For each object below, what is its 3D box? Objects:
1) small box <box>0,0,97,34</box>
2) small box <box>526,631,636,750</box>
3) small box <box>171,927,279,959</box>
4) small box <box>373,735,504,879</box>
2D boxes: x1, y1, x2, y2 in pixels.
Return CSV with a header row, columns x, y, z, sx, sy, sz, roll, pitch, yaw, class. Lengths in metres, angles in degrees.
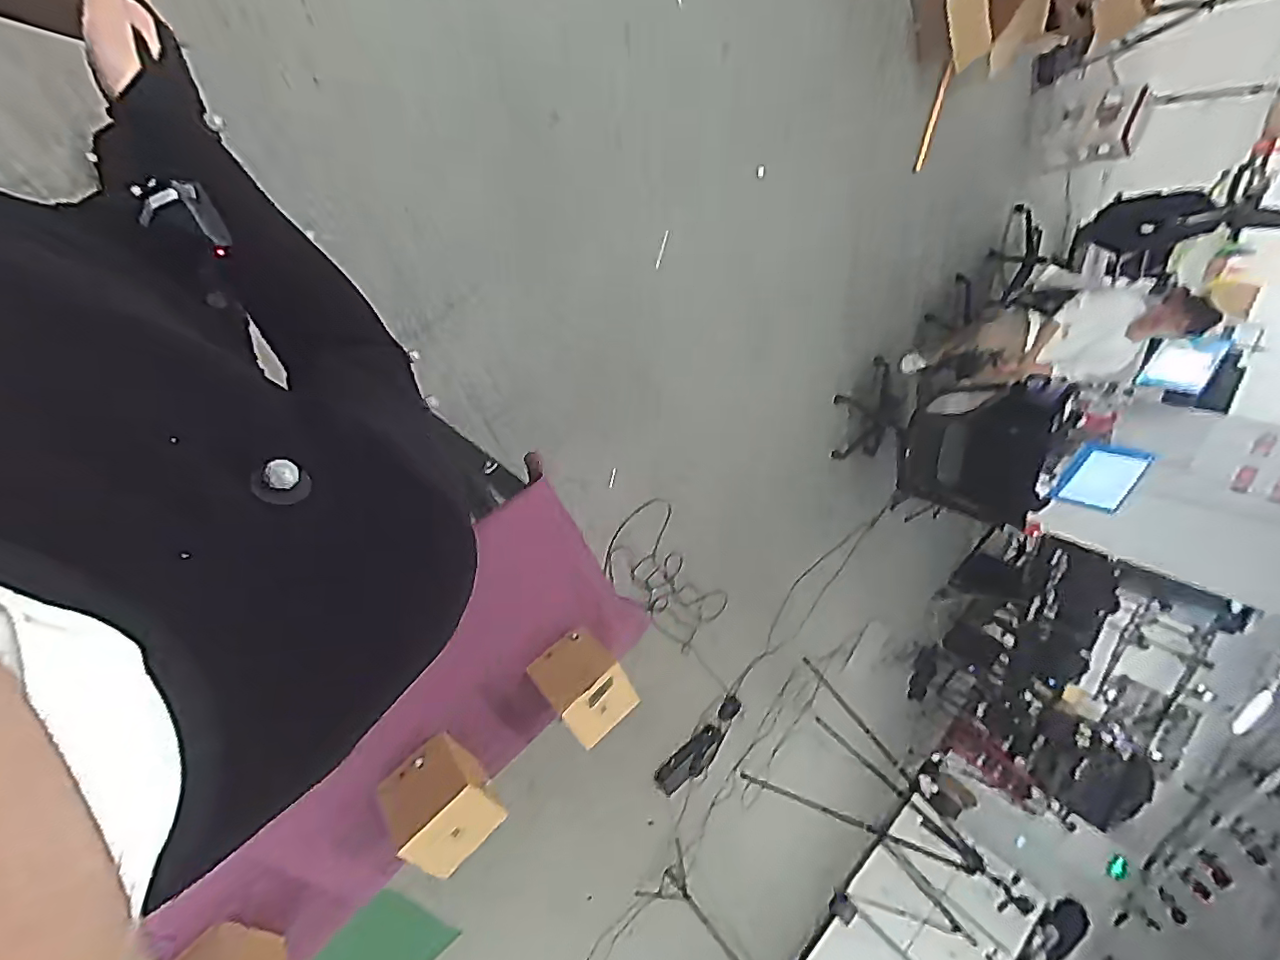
x,y,z,sx,sy,sz,roll,pitch,yaw,class
-0.509,-0.466,0.374,0.168,0.176,0.179,-5,110,-38,small box
-0.142,0.487,1.281,0.168,0.176,0.179,-37,130,-21,small box
-0.767,0.949,0.962,0.168,0.176,0.179,-41,132,-21,small box
-0.422,0.677,1.135,0.168,0.176,0.179,-39,131,-21,small box
